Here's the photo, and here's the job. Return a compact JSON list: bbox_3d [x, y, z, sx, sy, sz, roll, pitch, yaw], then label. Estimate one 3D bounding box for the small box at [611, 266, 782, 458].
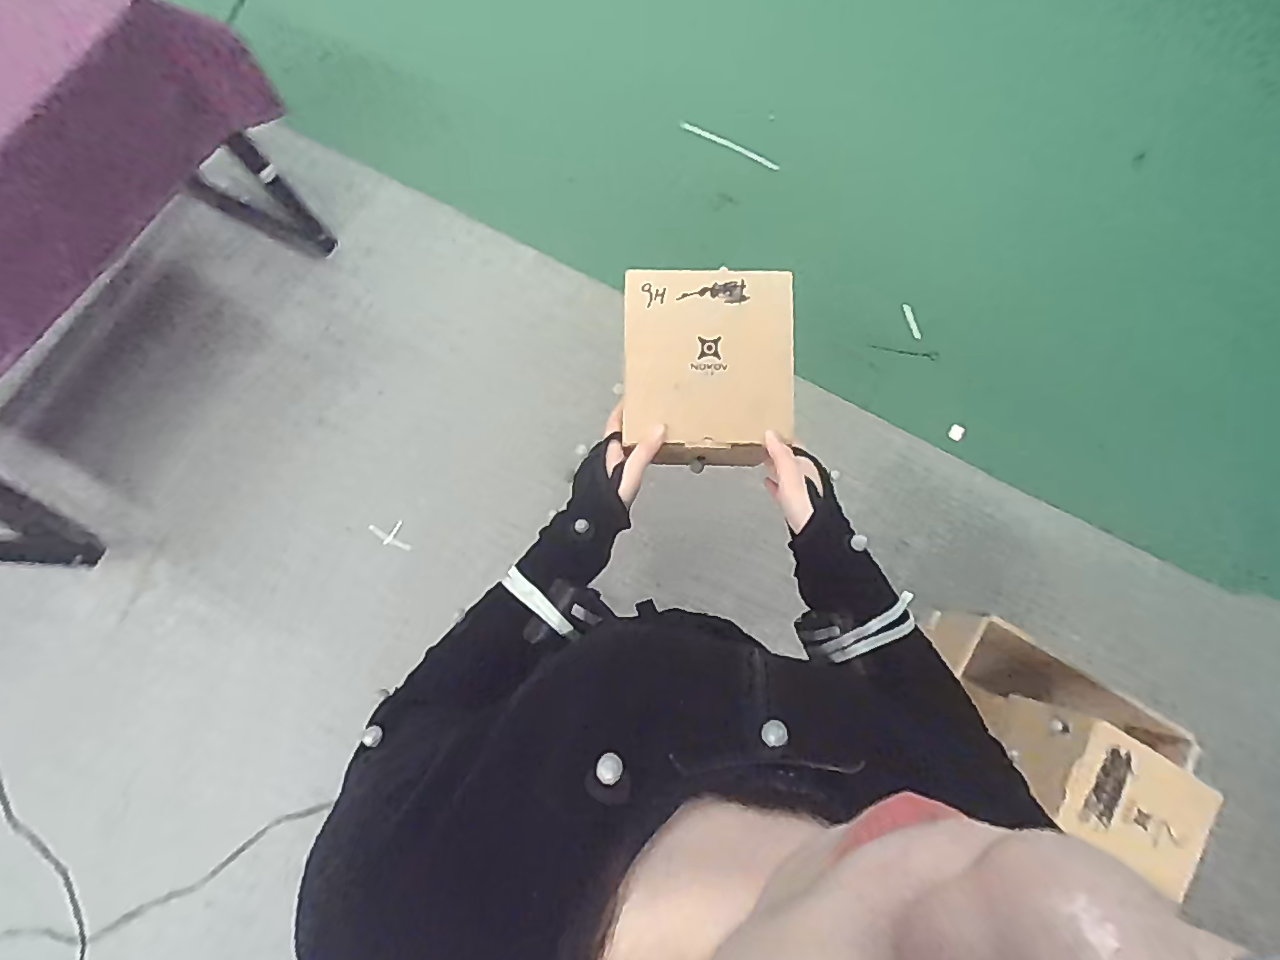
[{"bbox_3d":[0.058,-0.117,0.601,0.168,0.176,0.179,0,86,1],"label":"small box"}]
